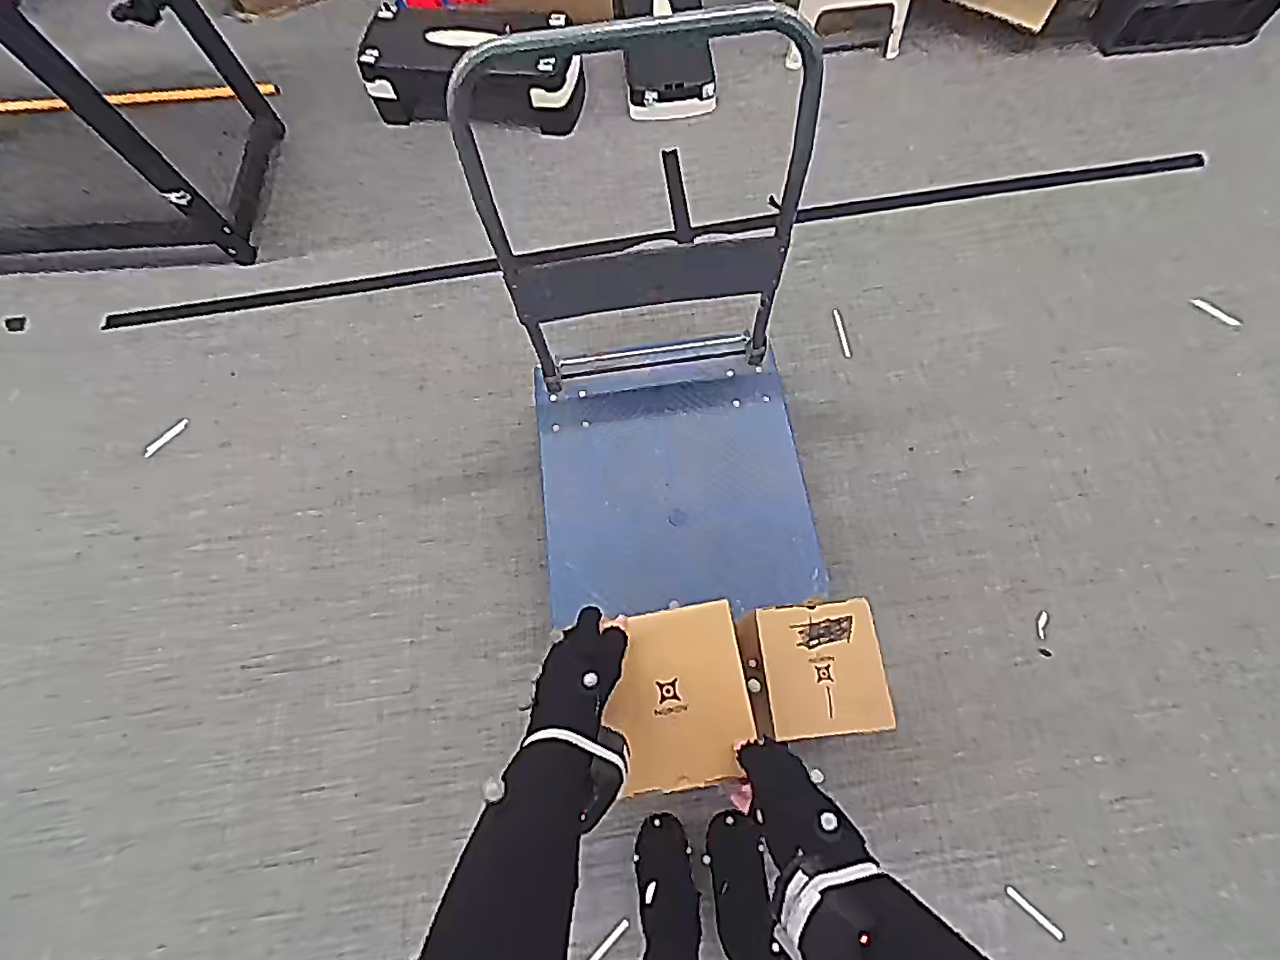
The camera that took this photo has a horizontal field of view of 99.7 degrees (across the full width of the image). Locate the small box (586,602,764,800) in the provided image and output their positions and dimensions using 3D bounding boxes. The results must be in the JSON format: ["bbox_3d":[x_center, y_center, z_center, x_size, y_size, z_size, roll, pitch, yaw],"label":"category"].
[{"bbox_3d":[0.038,0.254,0.646,0.168,0.176,0.179,-11,73,2],"label":"small box"}]

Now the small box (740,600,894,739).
[{"bbox_3d":[0.256,0.288,0.829,0.168,0.176,0.179,-5,71,0],"label":"small box"}]
